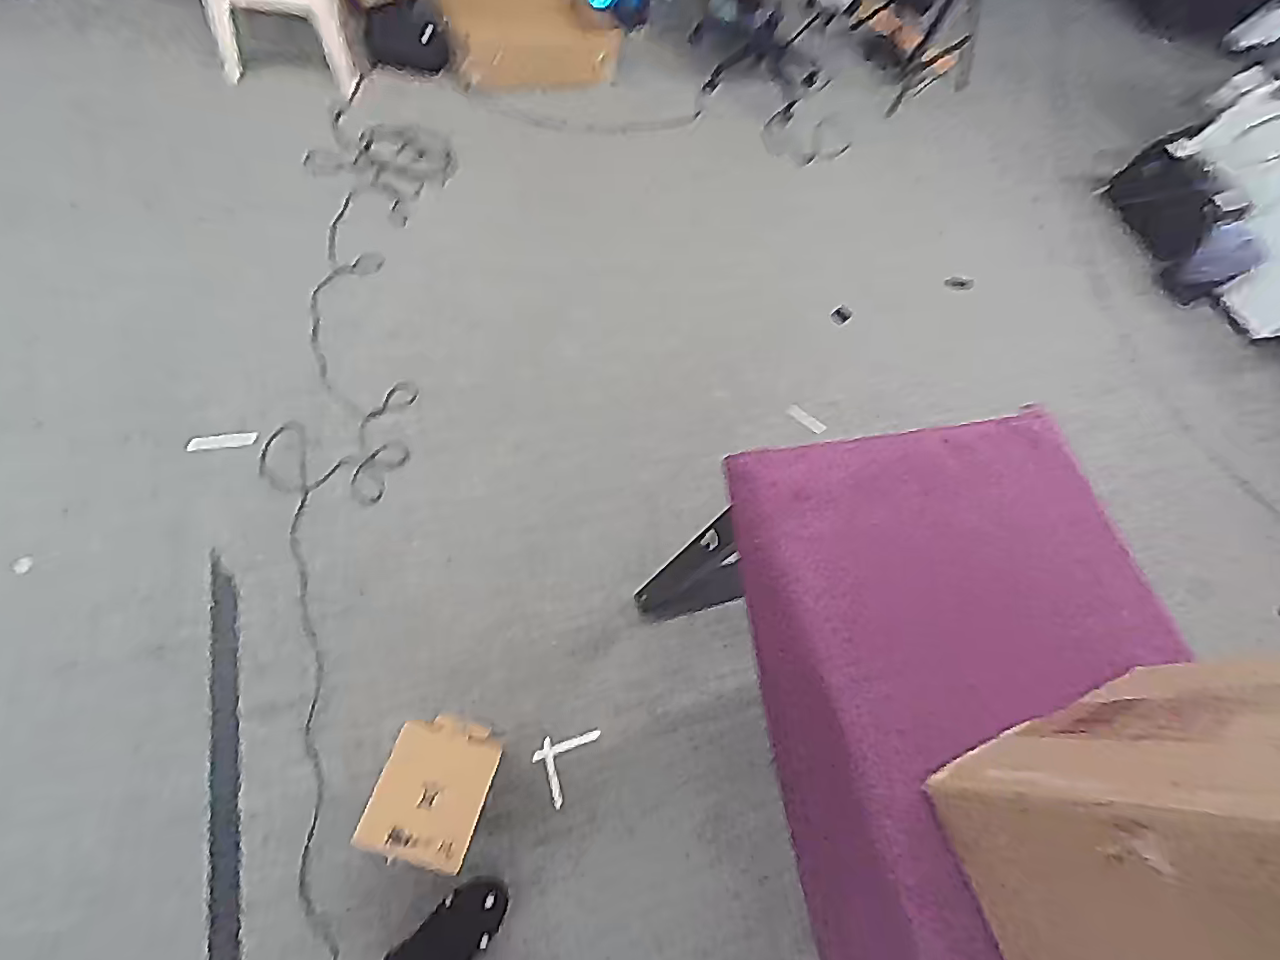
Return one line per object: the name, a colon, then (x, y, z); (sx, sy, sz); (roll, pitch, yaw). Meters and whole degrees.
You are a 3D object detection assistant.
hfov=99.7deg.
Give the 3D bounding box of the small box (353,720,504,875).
small box: (-0.341, 0.517, 0.900); (0.168, 0.176, 0.179); (21, 61, -5)
